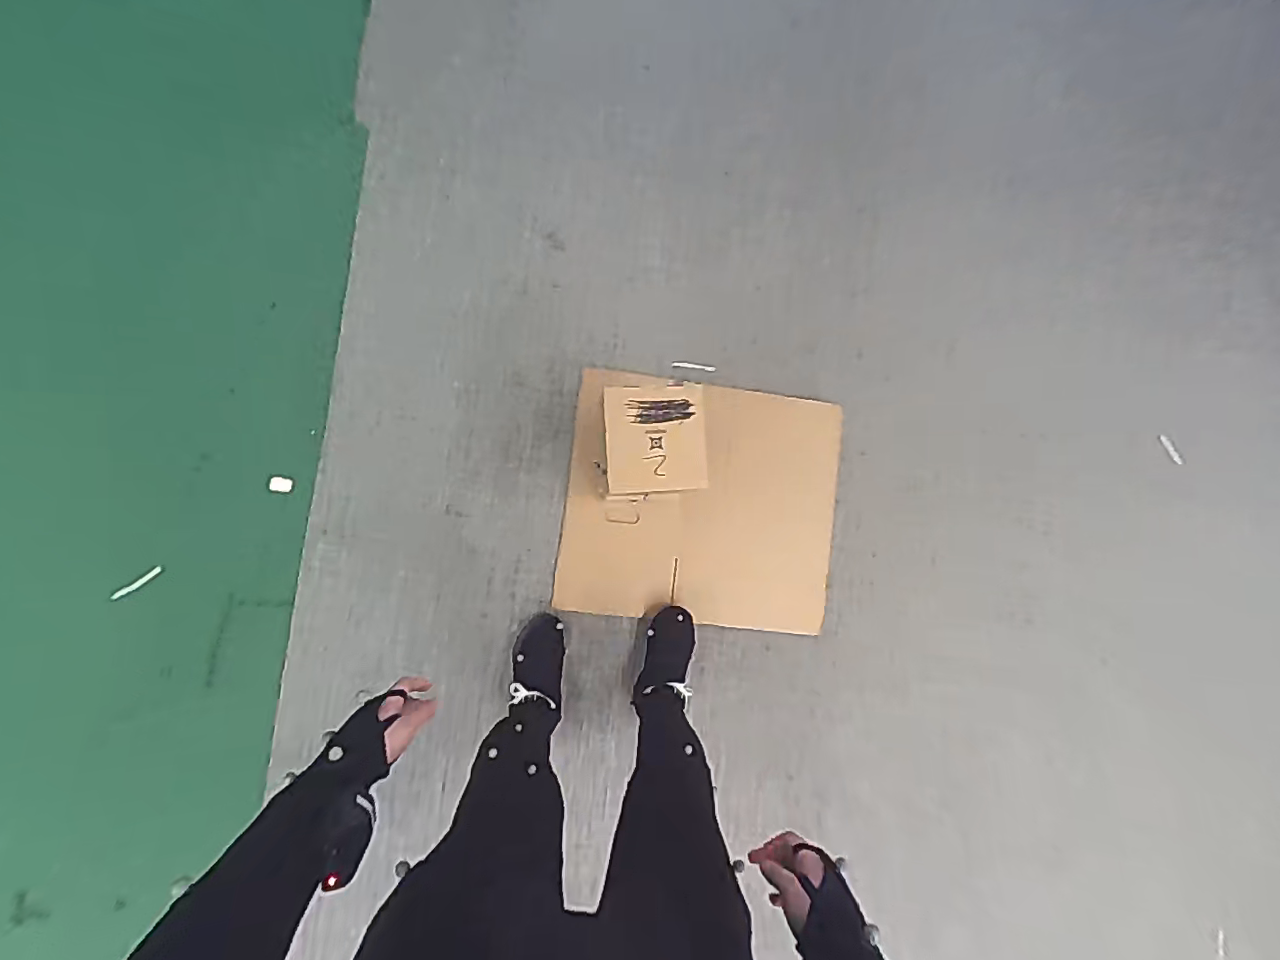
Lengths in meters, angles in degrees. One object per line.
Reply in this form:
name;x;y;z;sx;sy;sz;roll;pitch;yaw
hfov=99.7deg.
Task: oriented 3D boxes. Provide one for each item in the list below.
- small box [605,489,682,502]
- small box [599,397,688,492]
small box;0.003;-0.039;1.275;0.168;0.176;0.179;-1;86;-6
small box;0.003;-0.066;1.110;0.168;0.176;0.179;0;86;-7
